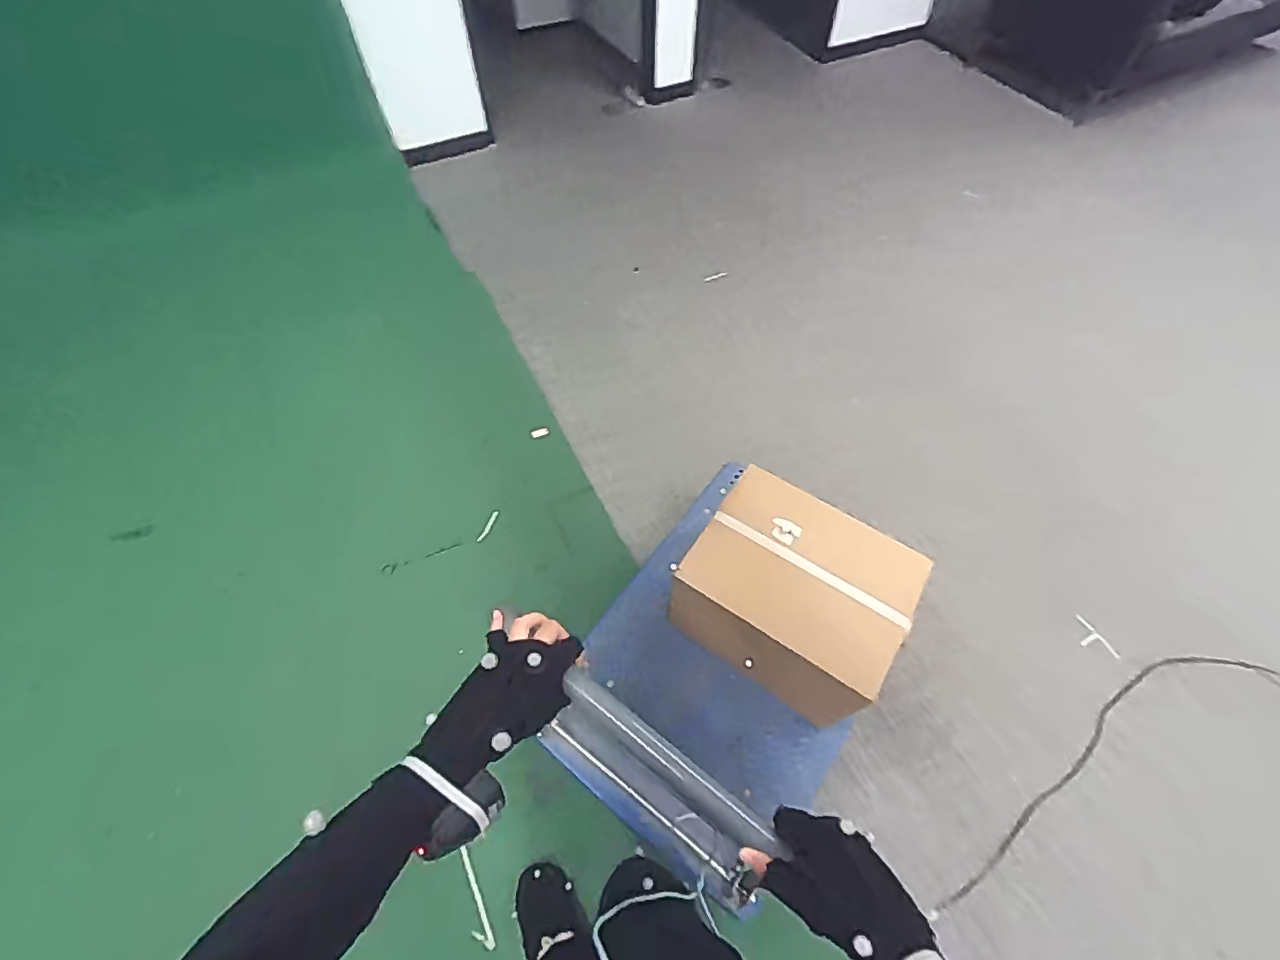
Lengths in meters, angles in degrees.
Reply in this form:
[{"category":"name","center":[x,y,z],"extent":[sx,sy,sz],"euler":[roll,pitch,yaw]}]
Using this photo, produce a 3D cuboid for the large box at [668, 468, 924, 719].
[{"category":"large box","center":[0.310,0.248,1.168],"extent":[0.408,0.320,0.320],"euler":[30,61,18]}]
